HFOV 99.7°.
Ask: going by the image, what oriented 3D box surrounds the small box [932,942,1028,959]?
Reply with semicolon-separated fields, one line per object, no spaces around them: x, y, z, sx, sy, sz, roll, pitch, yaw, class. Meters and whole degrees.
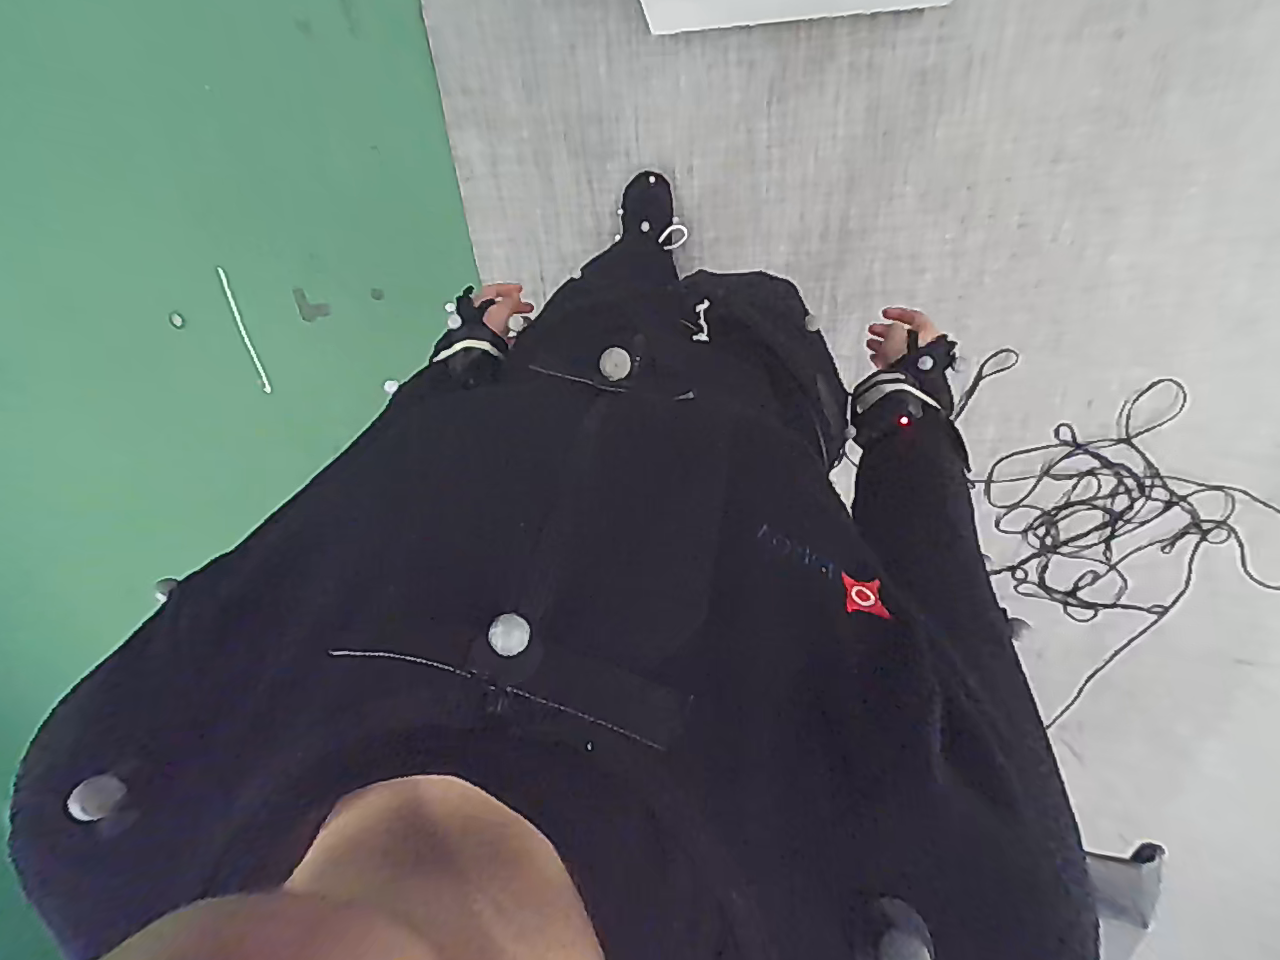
0.654;0.997;1.003;0.168;0.176;0.179;-5;119;11;small box
